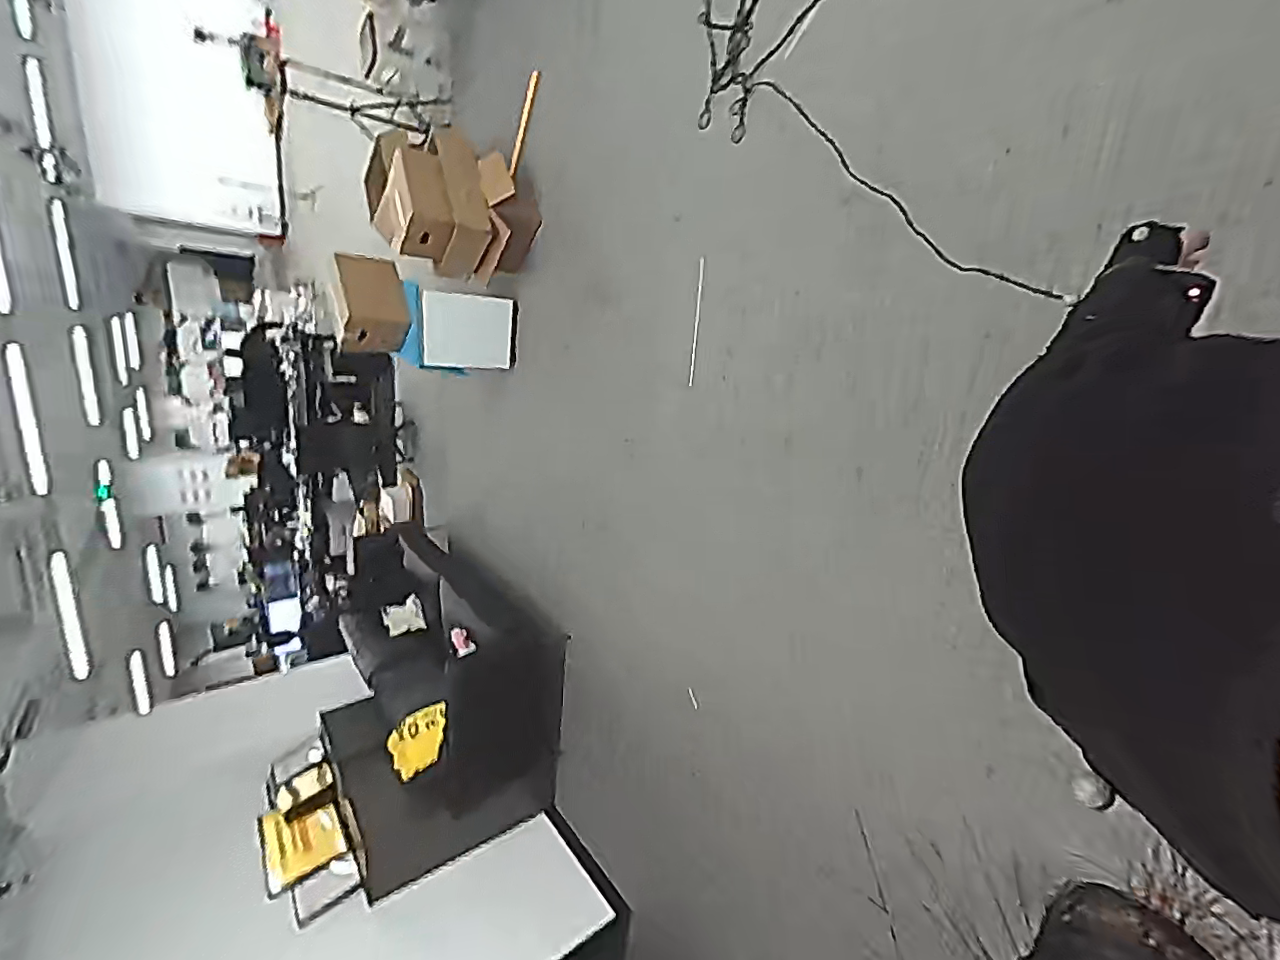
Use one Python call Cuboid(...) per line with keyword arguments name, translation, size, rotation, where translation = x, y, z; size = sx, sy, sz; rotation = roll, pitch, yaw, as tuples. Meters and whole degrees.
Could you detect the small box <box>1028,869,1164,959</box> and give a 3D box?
Cuboid(name="small box", translation=(1.025, 1.036, 1.213), size=(0.179, 0.176, 0.168), rotation=(28, 117, 46))
